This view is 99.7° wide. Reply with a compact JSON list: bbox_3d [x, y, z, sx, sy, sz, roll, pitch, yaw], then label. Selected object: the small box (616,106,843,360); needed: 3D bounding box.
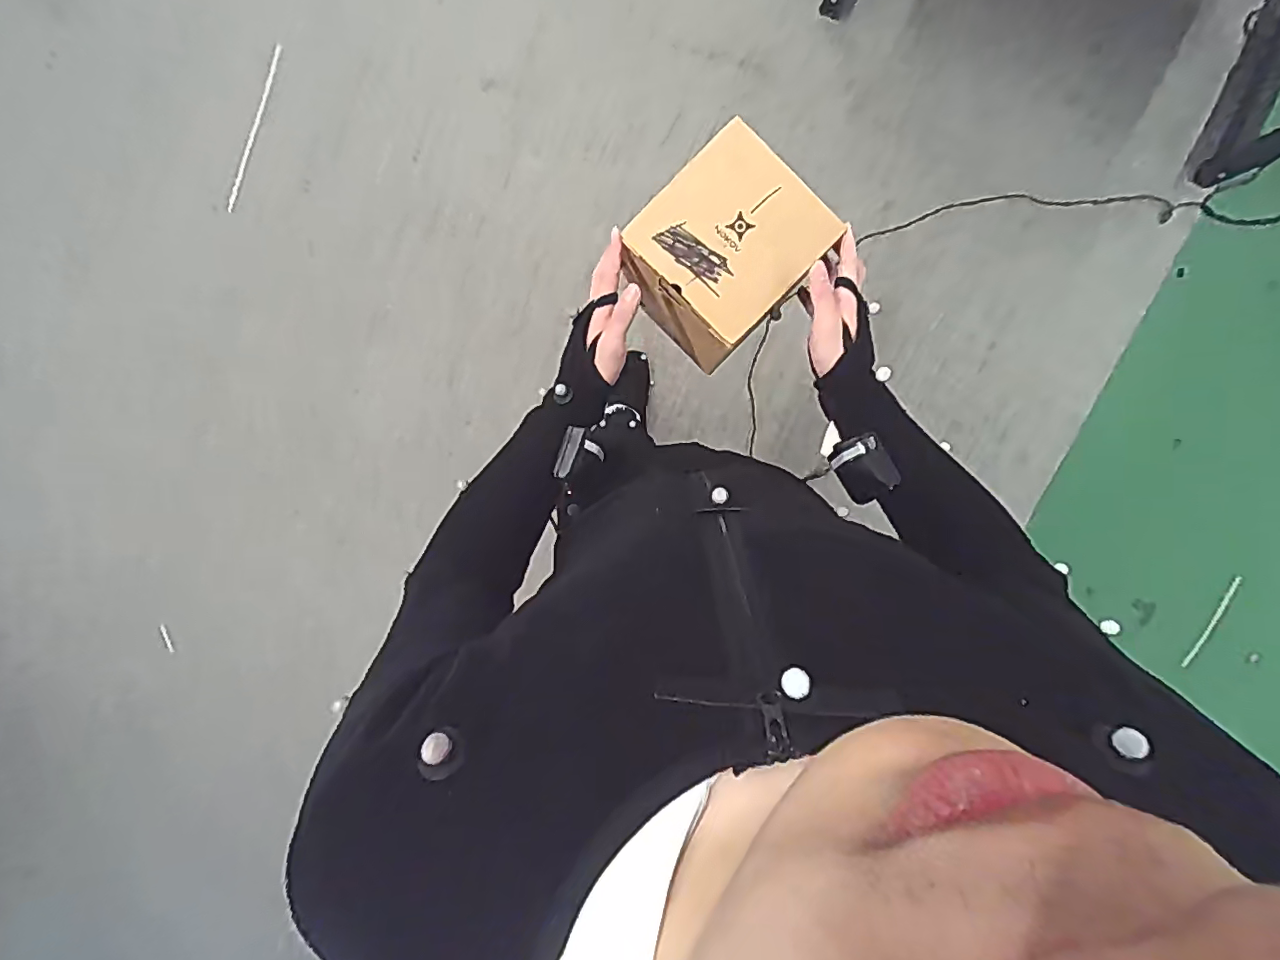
[{"bbox_3d":[0.092,-0.265,0.630,0.179,0.176,0.168,-45,92,0],"label":"small box"}]
